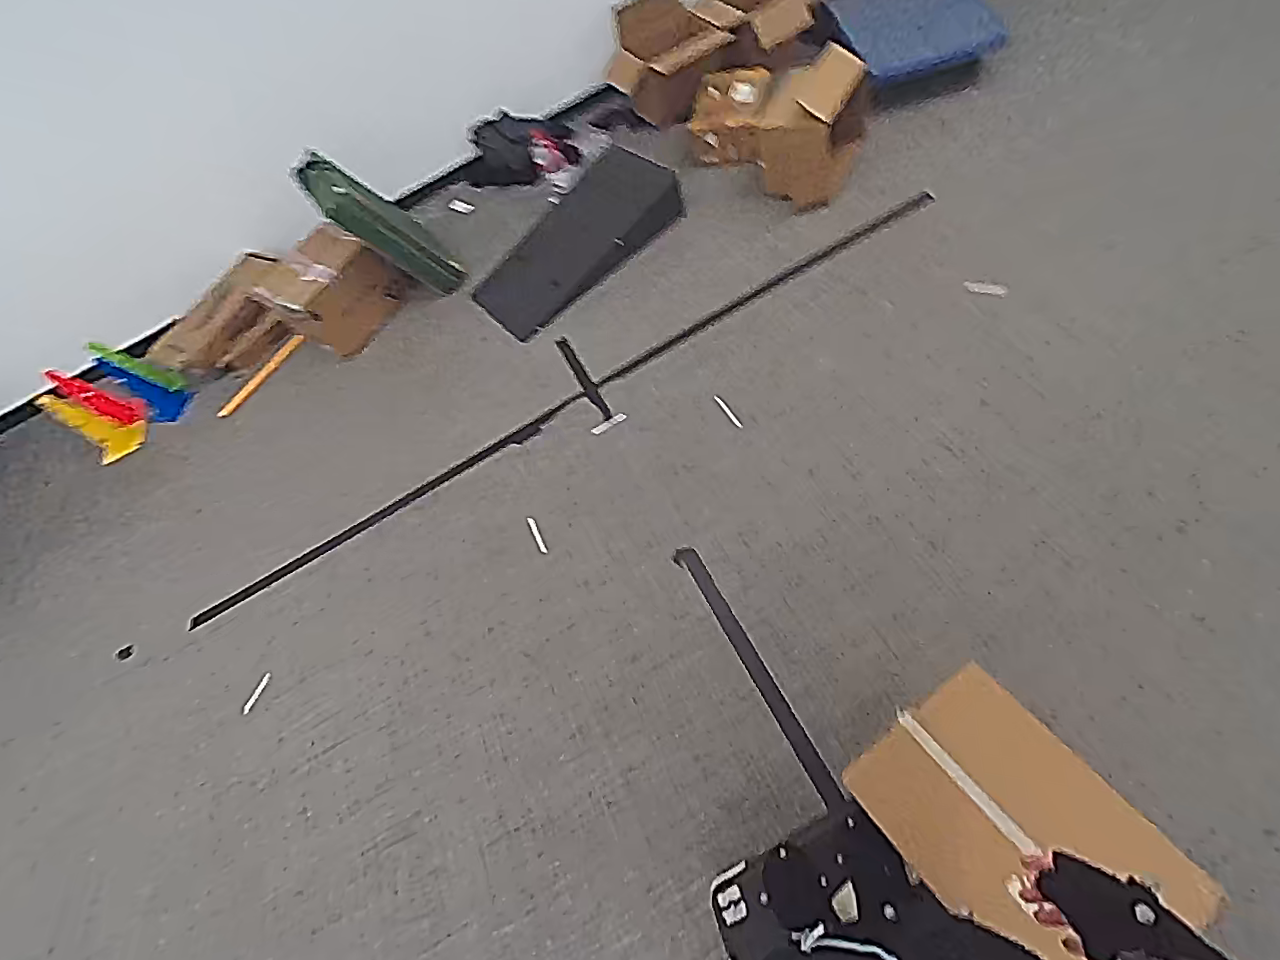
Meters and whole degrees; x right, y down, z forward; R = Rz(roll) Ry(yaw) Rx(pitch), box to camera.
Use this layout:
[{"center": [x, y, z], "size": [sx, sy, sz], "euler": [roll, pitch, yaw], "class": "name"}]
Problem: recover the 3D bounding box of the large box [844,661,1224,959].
[{"center": [0.630, 0.596, 0.971], "size": [0.320, 0.320, 0.408], "euler": [-42, 59, -1], "class": "large box"}]
